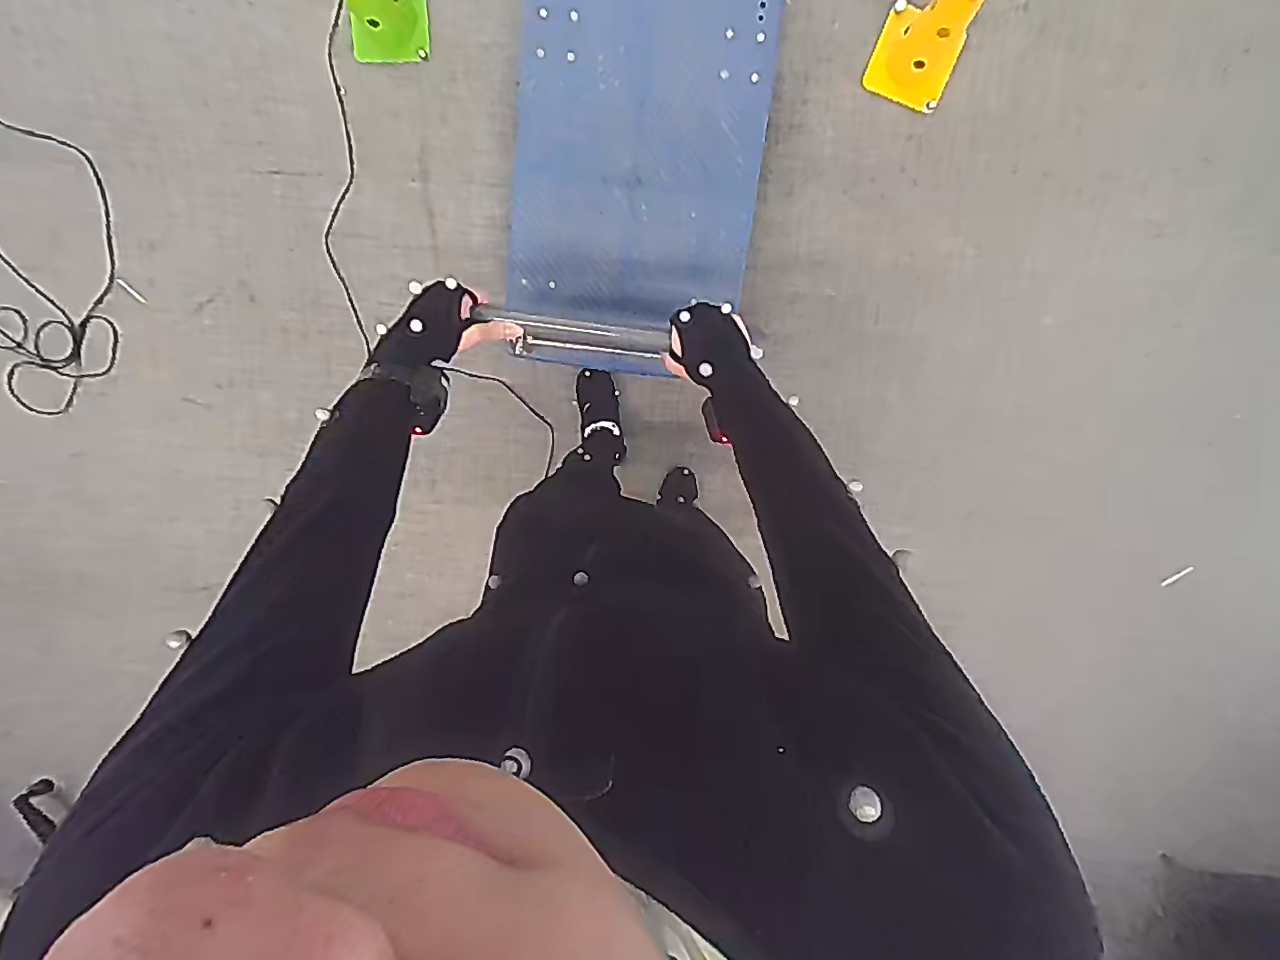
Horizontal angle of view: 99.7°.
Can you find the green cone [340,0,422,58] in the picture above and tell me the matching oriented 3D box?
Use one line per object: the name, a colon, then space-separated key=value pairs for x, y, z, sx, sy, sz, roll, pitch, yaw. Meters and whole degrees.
green cone: x=-0.661 y=-1.140 z=1.187 sx=0.202 sy=0.368 sz=0.200 roll=1 pitch=102 yaw=4
